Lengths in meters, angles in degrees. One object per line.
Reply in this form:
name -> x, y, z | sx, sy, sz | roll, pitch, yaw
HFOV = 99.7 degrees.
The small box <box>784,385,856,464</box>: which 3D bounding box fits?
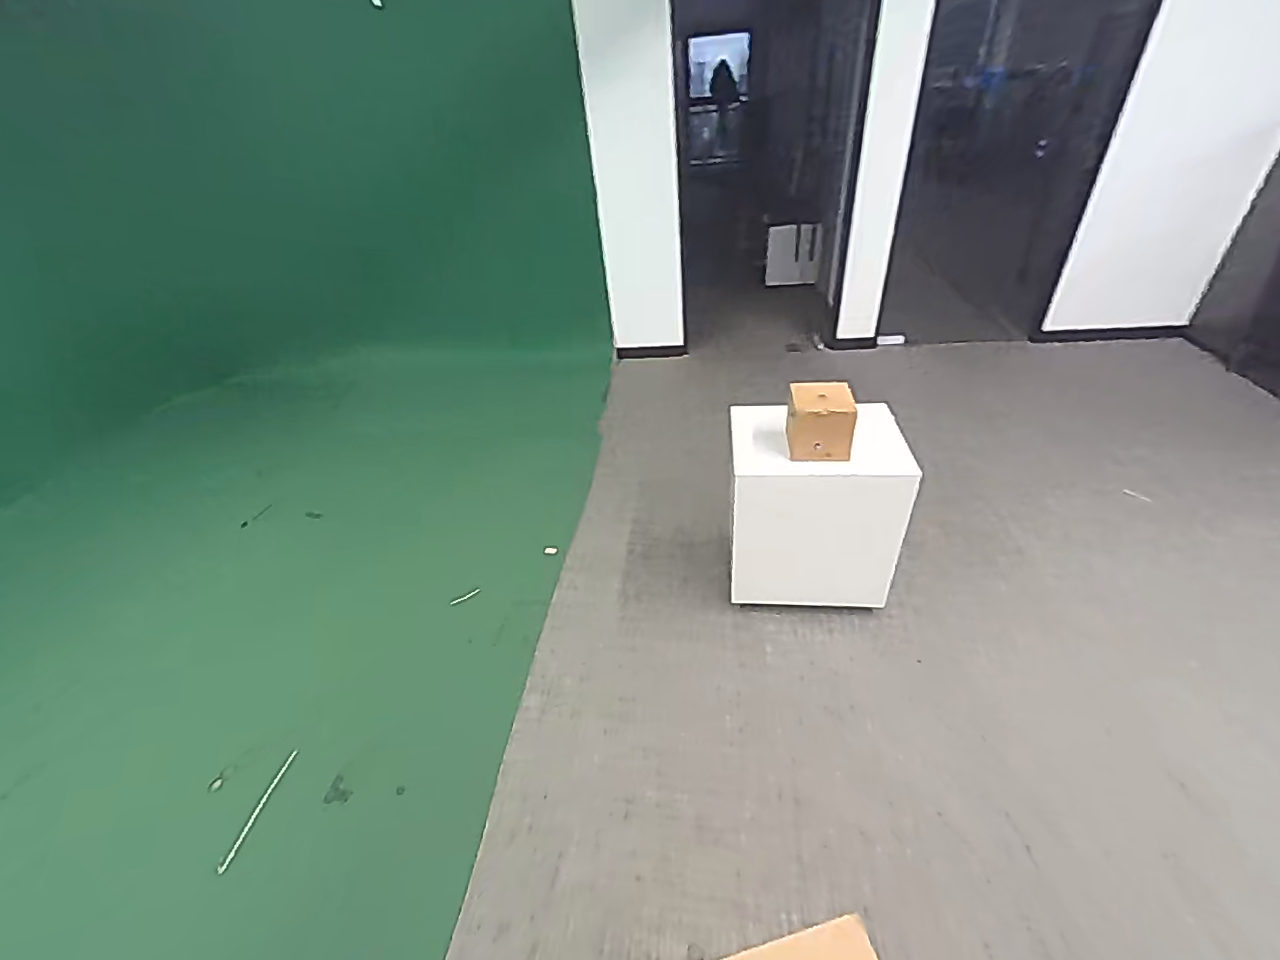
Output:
small box -> 0.519, -0.164, 1.581 | 0.168, 0.176, 0.179 | 0, 36, 8
